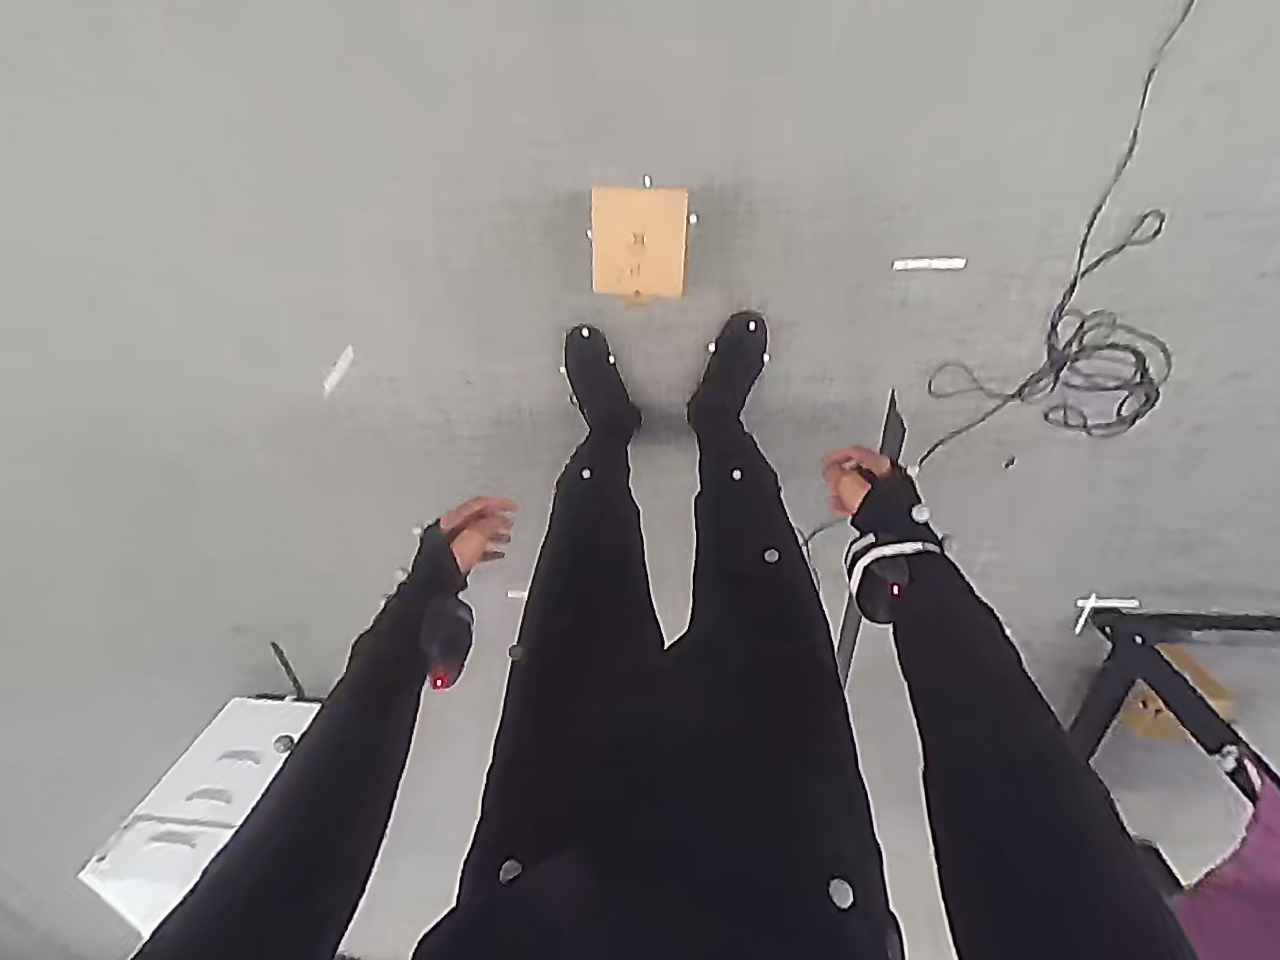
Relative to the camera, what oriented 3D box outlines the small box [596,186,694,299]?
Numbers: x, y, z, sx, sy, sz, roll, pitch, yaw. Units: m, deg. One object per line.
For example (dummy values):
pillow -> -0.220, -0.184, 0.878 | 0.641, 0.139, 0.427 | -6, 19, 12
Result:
small box -> 0.012, -0.449, 1.013 | 0.168, 0.176, 0.179 | 5, 120, 4
